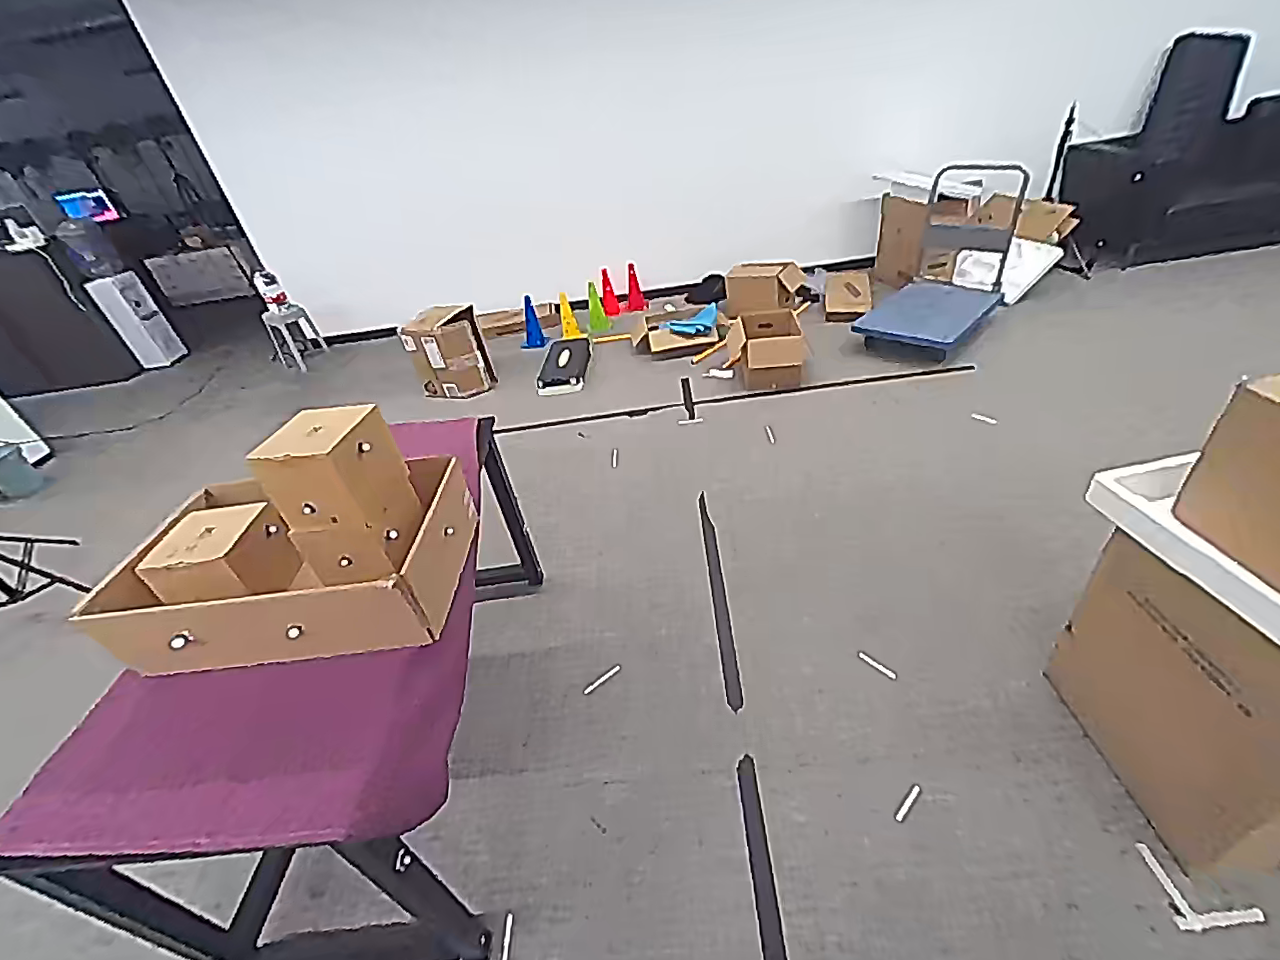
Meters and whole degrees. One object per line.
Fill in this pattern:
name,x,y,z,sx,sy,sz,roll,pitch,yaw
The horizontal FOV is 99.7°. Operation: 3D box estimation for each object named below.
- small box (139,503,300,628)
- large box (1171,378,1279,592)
small box,-0.830,0.171,1.096,0.168,0.176,0.179,-8,35,0
large box,1.261,0.041,0.896,0.320,0.320,0.408,-9,34,0
